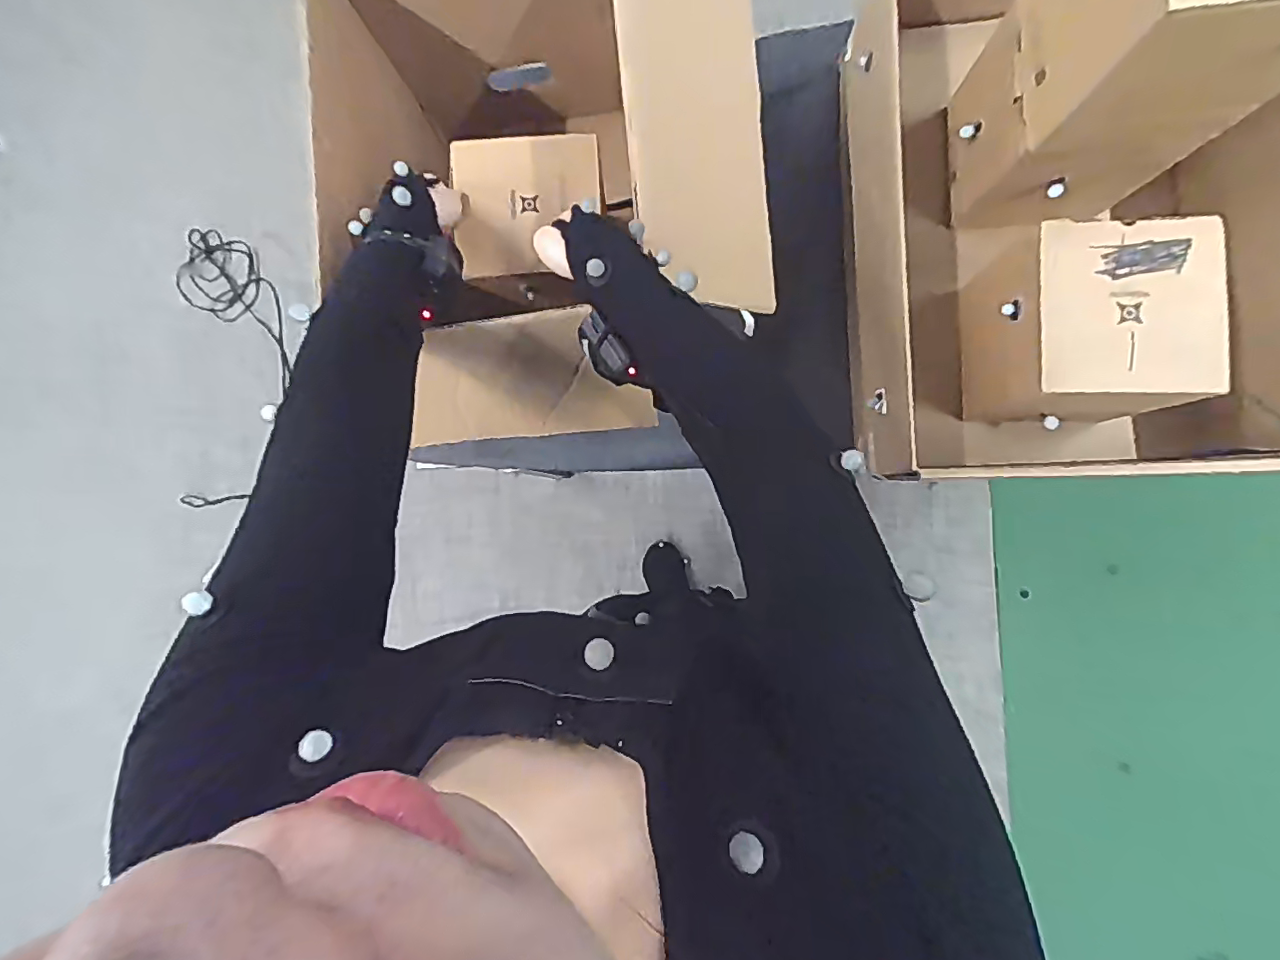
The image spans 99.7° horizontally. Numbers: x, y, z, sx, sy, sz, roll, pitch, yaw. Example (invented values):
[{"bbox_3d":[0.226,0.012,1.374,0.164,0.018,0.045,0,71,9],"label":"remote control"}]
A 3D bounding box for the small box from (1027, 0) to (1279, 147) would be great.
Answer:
[{"bbox_3d":[0.459,-0.412,0.455,0.179,0.176,0.168,-3,89,5],"label":"small box"}]
